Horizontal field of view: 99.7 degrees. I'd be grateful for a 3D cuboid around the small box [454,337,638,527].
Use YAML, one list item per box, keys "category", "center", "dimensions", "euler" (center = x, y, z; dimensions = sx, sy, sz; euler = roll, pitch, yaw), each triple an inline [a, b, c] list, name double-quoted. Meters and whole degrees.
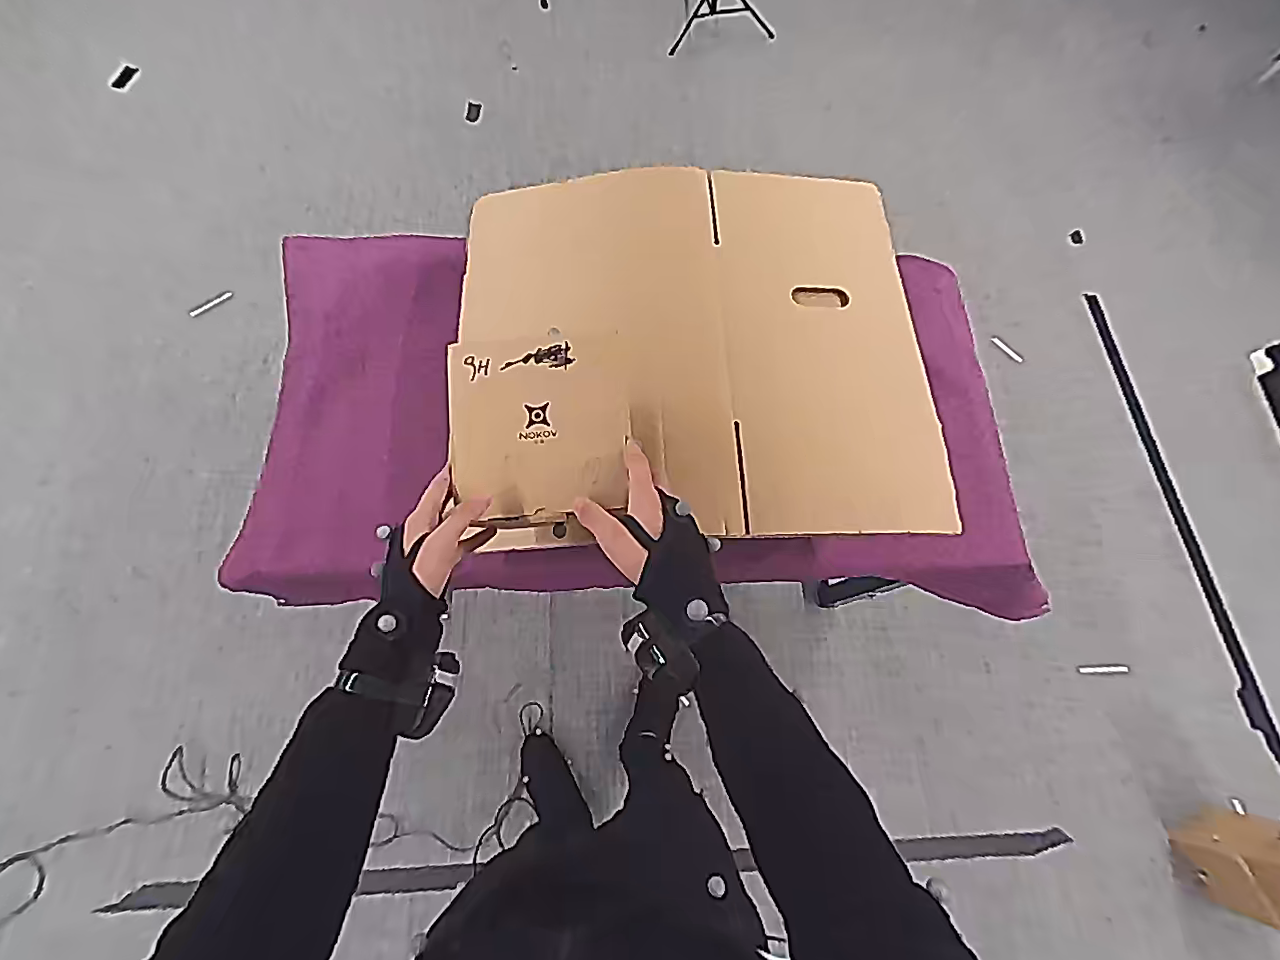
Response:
- category: "small box"
  center: [-0.092, -0.039, 0.595]
  dimensions: [0.168, 0.176, 0.179]
  euler: [-4, 83, 1]
